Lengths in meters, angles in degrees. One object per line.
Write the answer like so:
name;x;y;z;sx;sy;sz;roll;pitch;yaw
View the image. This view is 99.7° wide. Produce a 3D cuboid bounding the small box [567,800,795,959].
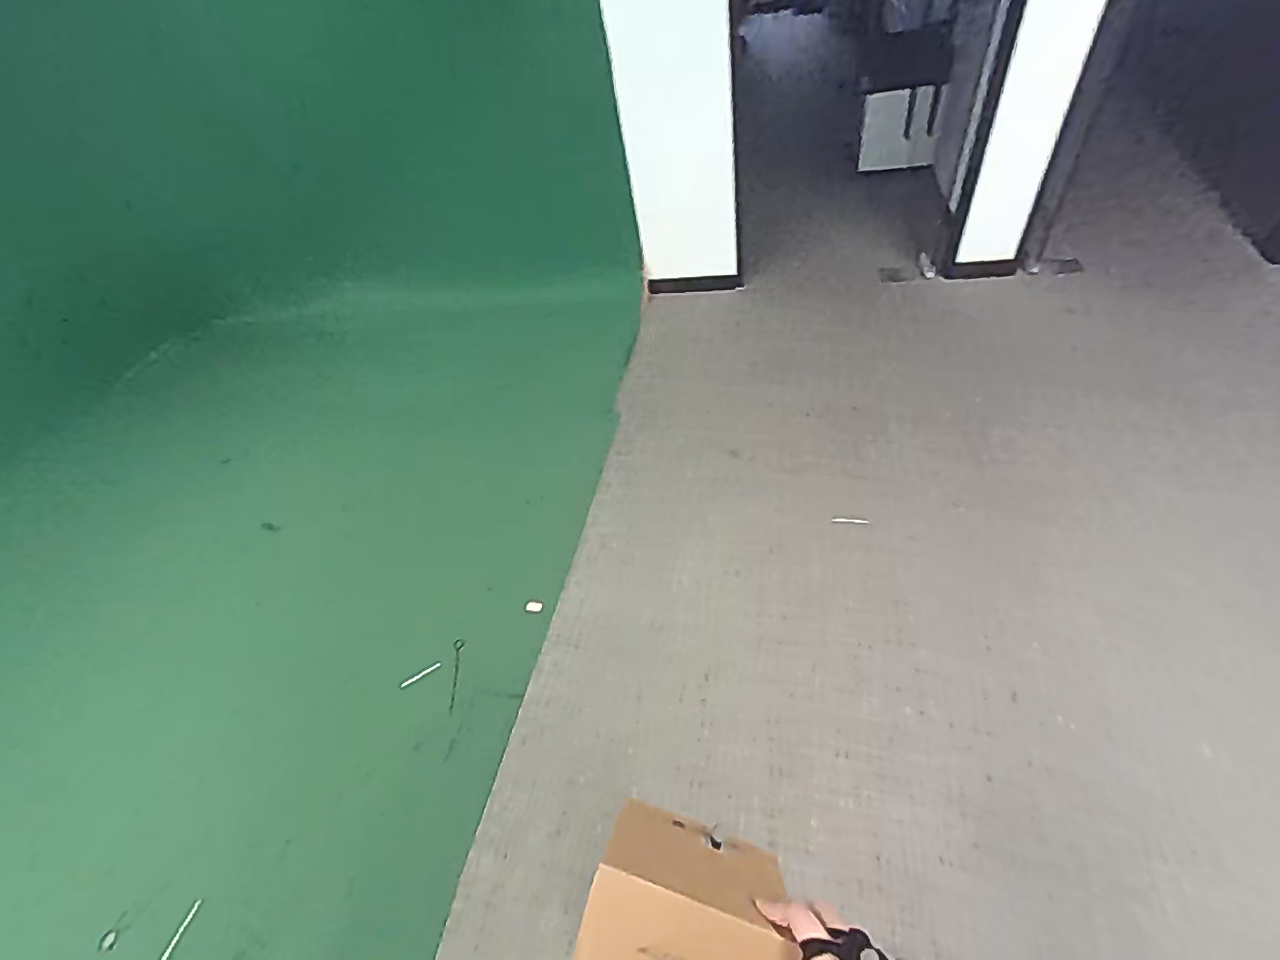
small box;0.026;0.430;0.485;0.168;0.176;0.179;17;79;10
